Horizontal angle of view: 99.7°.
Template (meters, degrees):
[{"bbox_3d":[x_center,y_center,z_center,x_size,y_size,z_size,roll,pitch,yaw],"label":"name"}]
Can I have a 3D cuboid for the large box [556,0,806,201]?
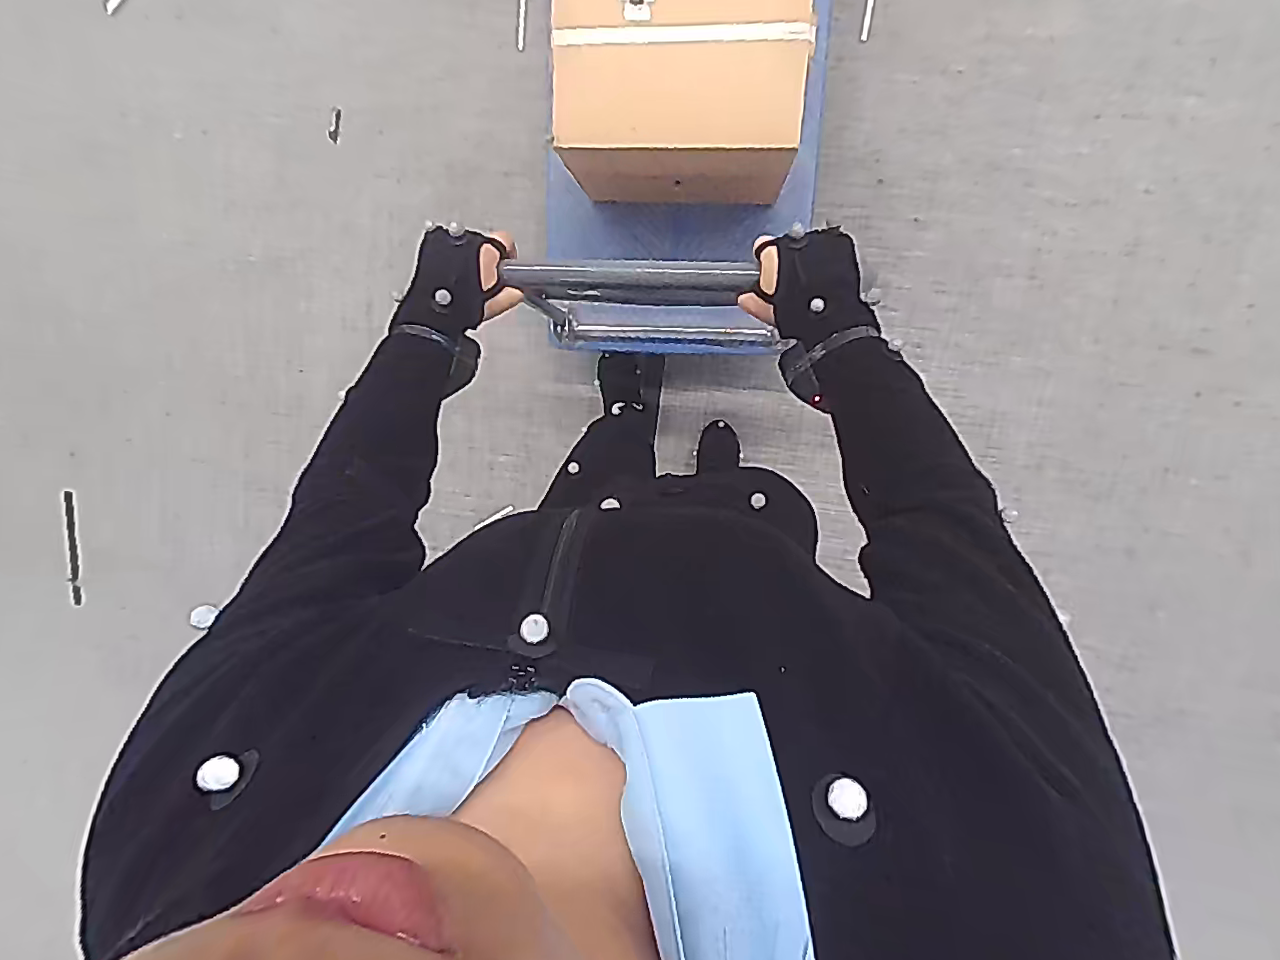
[{"bbox_3d":[0.079,-0.730,1.012,0.408,0.320,0.320,4,101,7],"label":"large box"}]
